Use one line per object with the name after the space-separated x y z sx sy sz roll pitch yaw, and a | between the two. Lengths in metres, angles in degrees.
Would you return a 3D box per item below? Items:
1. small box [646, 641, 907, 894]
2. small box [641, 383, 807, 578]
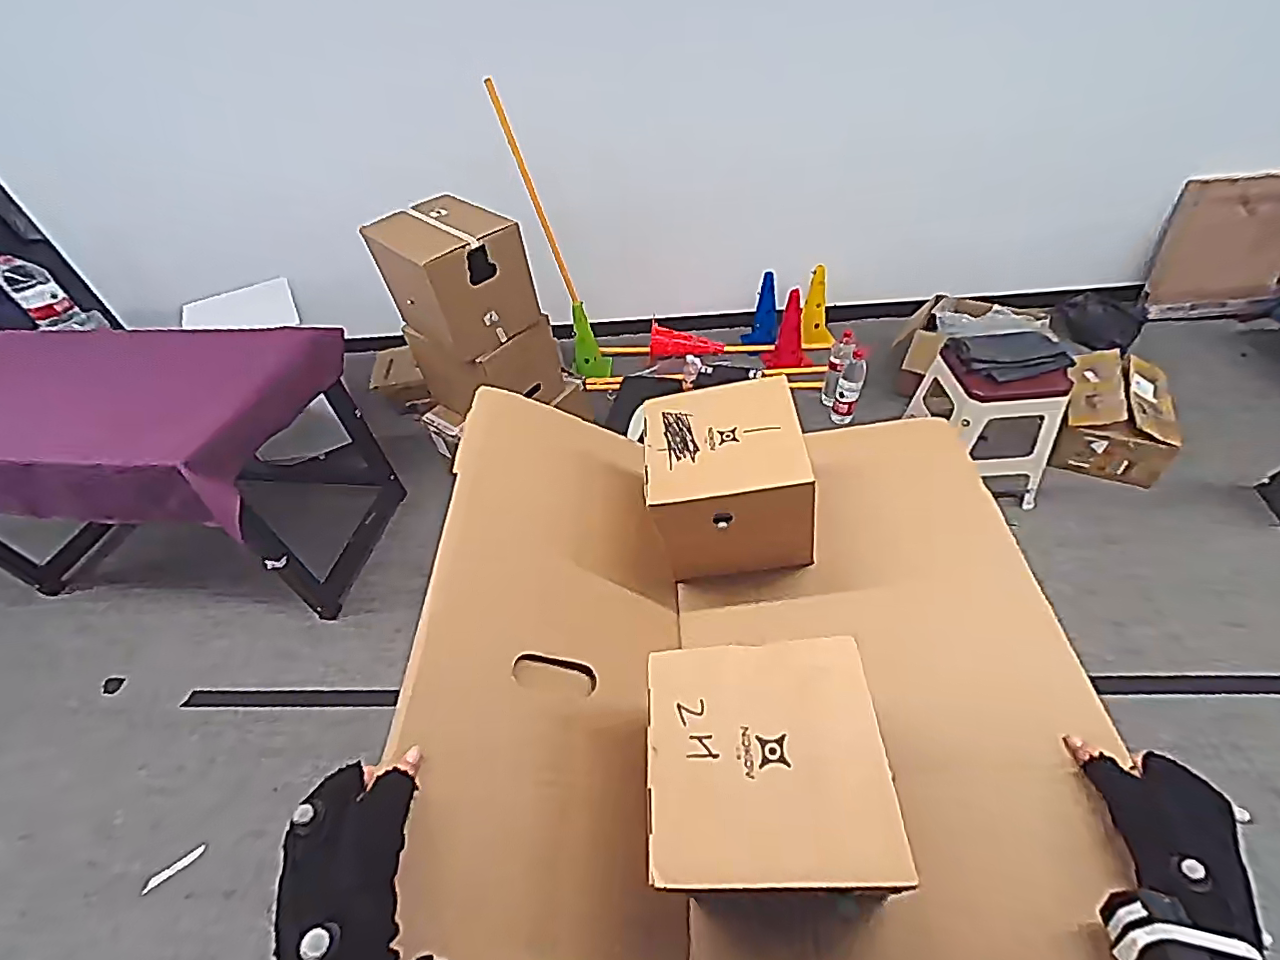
0.108 0.255 0.474 0.179 0.176 0.168 -9 50 11 | small box
0.105 0.009 0.674 0.179 0.176 0.168 -9 50 10 | small box
